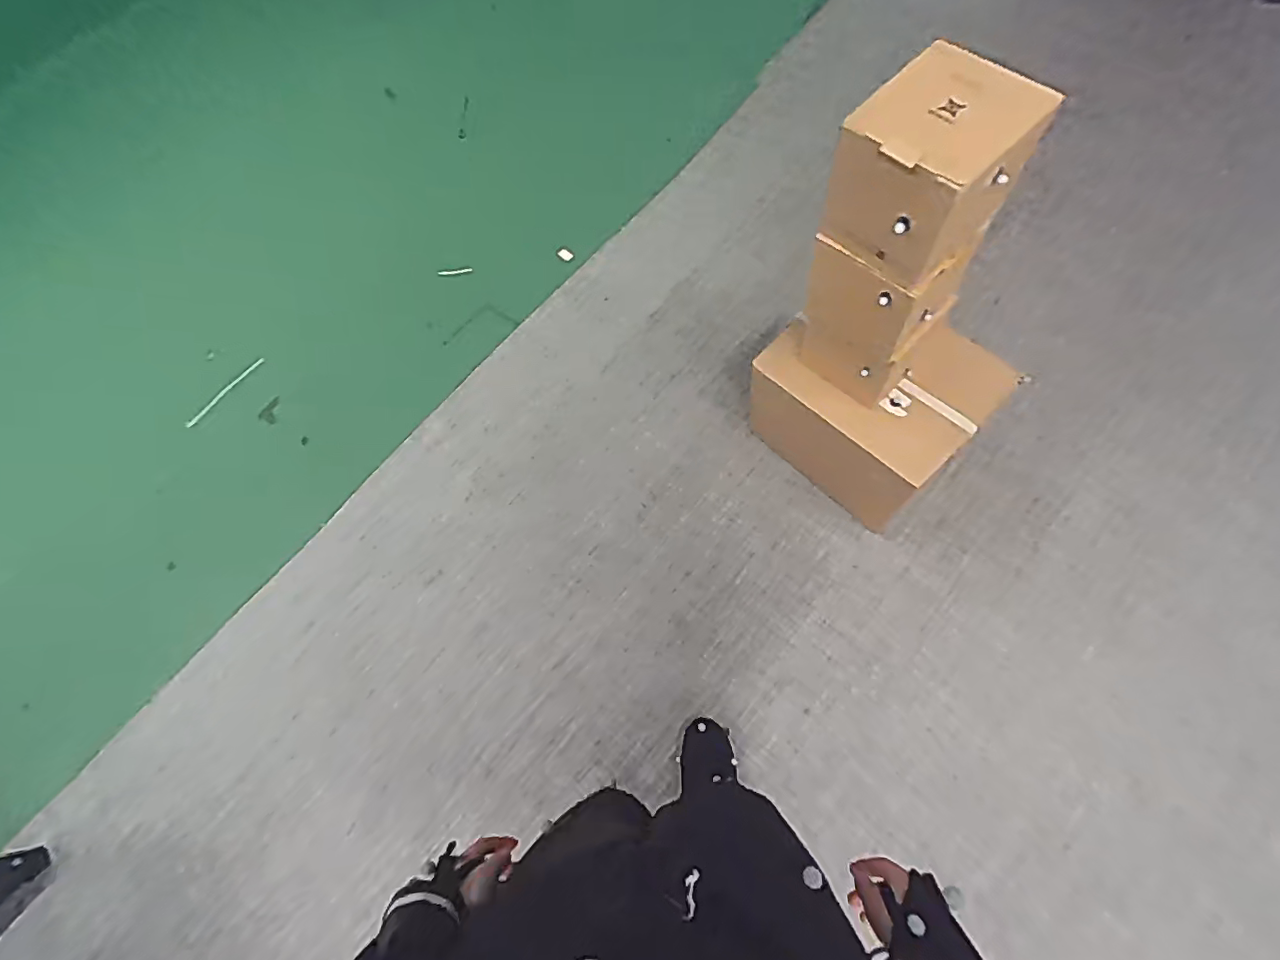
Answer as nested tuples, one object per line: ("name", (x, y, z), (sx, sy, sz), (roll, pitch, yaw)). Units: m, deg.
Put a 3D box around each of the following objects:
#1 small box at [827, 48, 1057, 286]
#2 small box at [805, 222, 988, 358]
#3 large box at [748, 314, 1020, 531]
("small box", (0.362, -0.388, 0.692), (0.179, 0.176, 0.168), (-42, 70, -9))
("small box", (0.380, -0.323, 0.841), (0.179, 0.176, 0.168), (41, 81, 20))
("large box", (0.494, -0.157, 1.198), (0.320, 0.320, 0.408), (-44, 69, -7))
